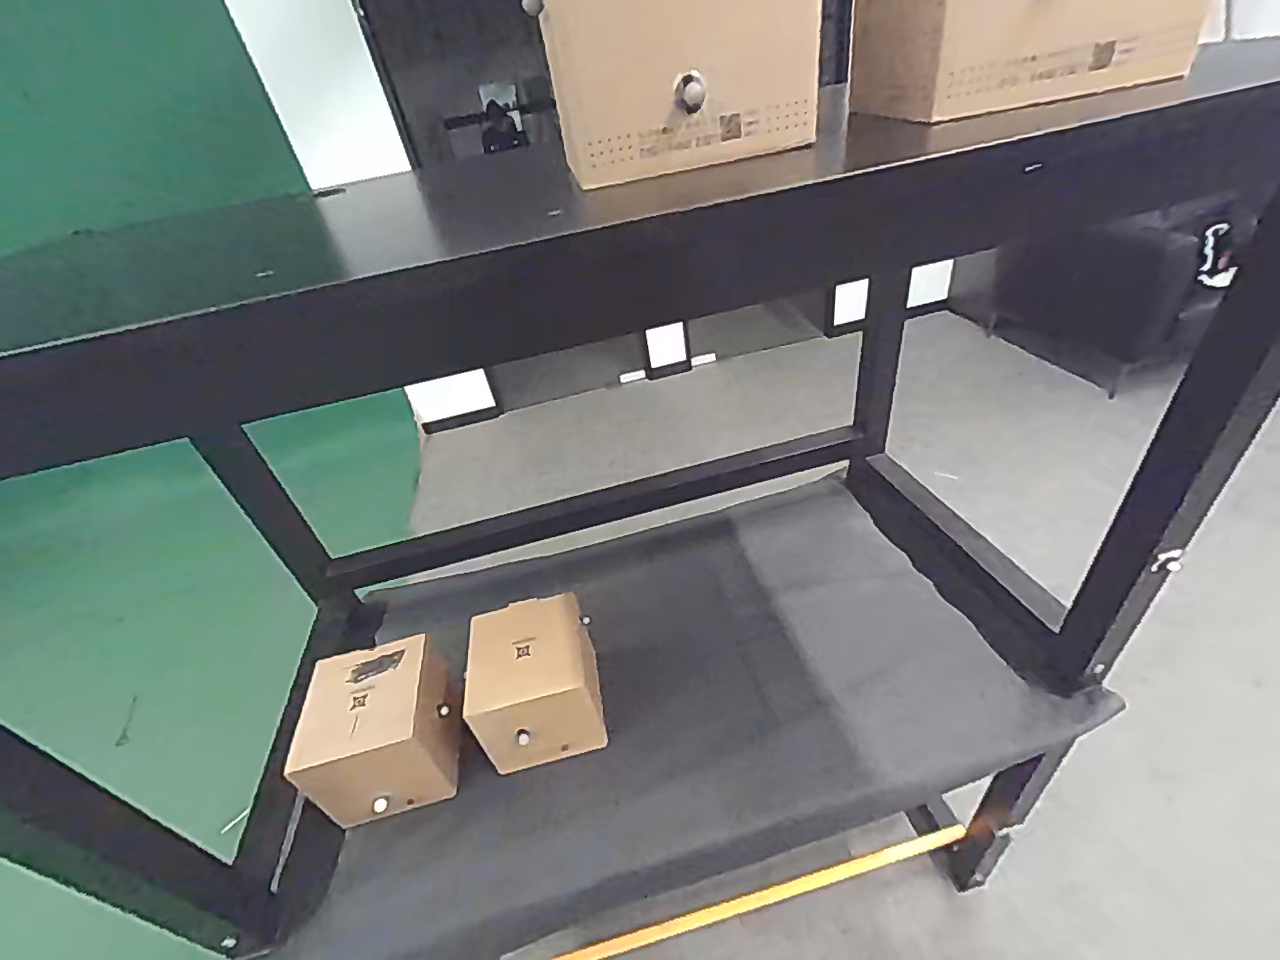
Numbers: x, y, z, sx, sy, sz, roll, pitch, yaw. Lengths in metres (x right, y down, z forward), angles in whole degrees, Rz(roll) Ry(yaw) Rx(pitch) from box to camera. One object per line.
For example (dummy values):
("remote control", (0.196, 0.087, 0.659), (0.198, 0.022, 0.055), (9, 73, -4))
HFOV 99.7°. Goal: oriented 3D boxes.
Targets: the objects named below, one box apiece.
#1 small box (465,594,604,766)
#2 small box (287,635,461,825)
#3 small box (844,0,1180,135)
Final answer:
("small box", (-0.157, 0.312, 0.833), (0.168, 0.176, 0.179), (-13, 35, -4))
("small box", (-0.376, 0.369, 0.805), (0.168, 0.176, 0.179), (-14, 36, -5))
("small box", (0.260, -0.364, 0.395), (0.168, 0.176, 0.179), (-7, 35, 4))
